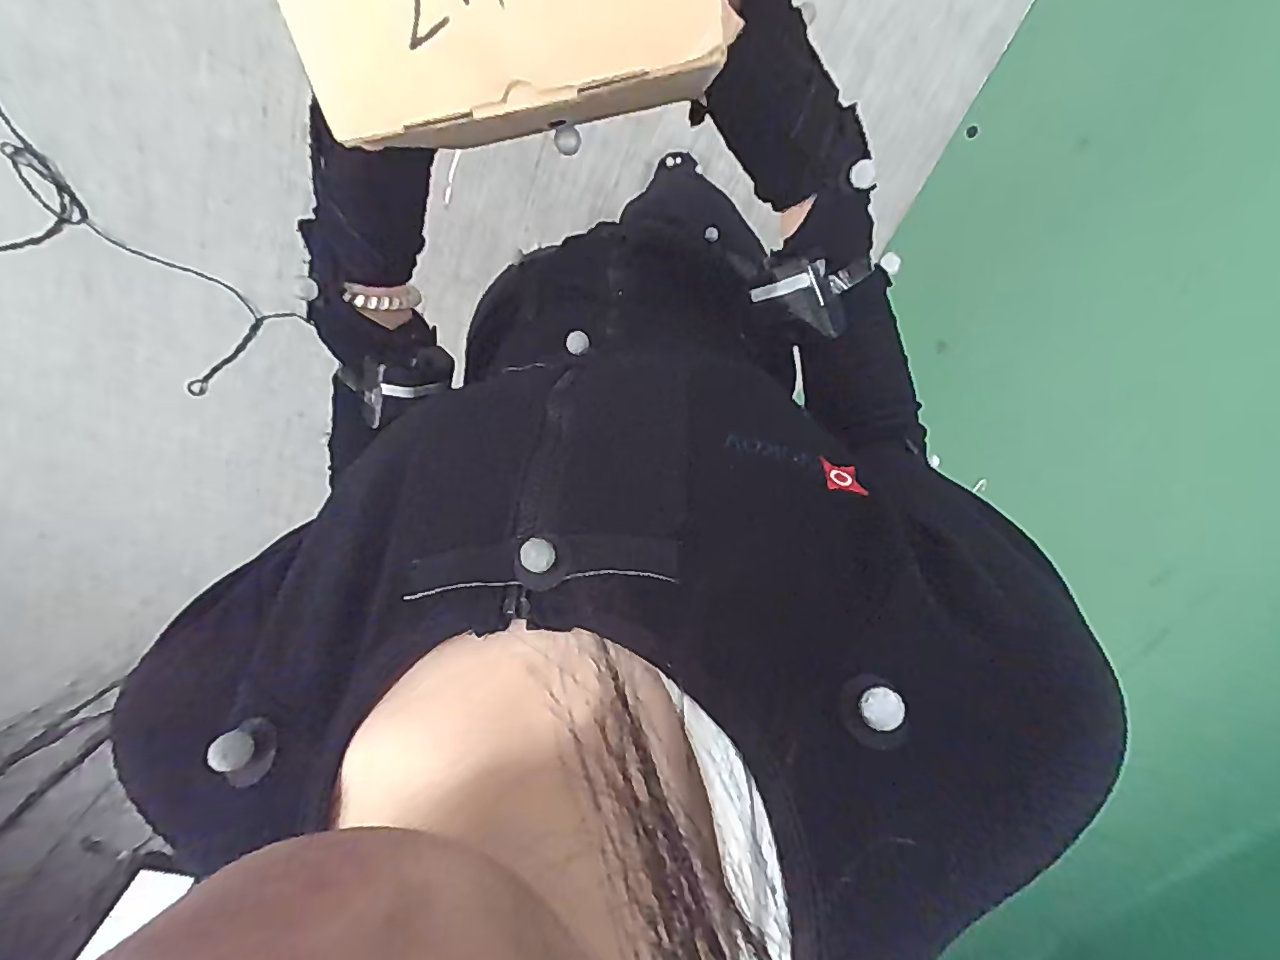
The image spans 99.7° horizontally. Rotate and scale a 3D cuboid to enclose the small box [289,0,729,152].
[{"bbox_3d":[-0.057,-0.265,0.248,0.168,0.176,0.179,-8,121,7],"label":"small box"}]
